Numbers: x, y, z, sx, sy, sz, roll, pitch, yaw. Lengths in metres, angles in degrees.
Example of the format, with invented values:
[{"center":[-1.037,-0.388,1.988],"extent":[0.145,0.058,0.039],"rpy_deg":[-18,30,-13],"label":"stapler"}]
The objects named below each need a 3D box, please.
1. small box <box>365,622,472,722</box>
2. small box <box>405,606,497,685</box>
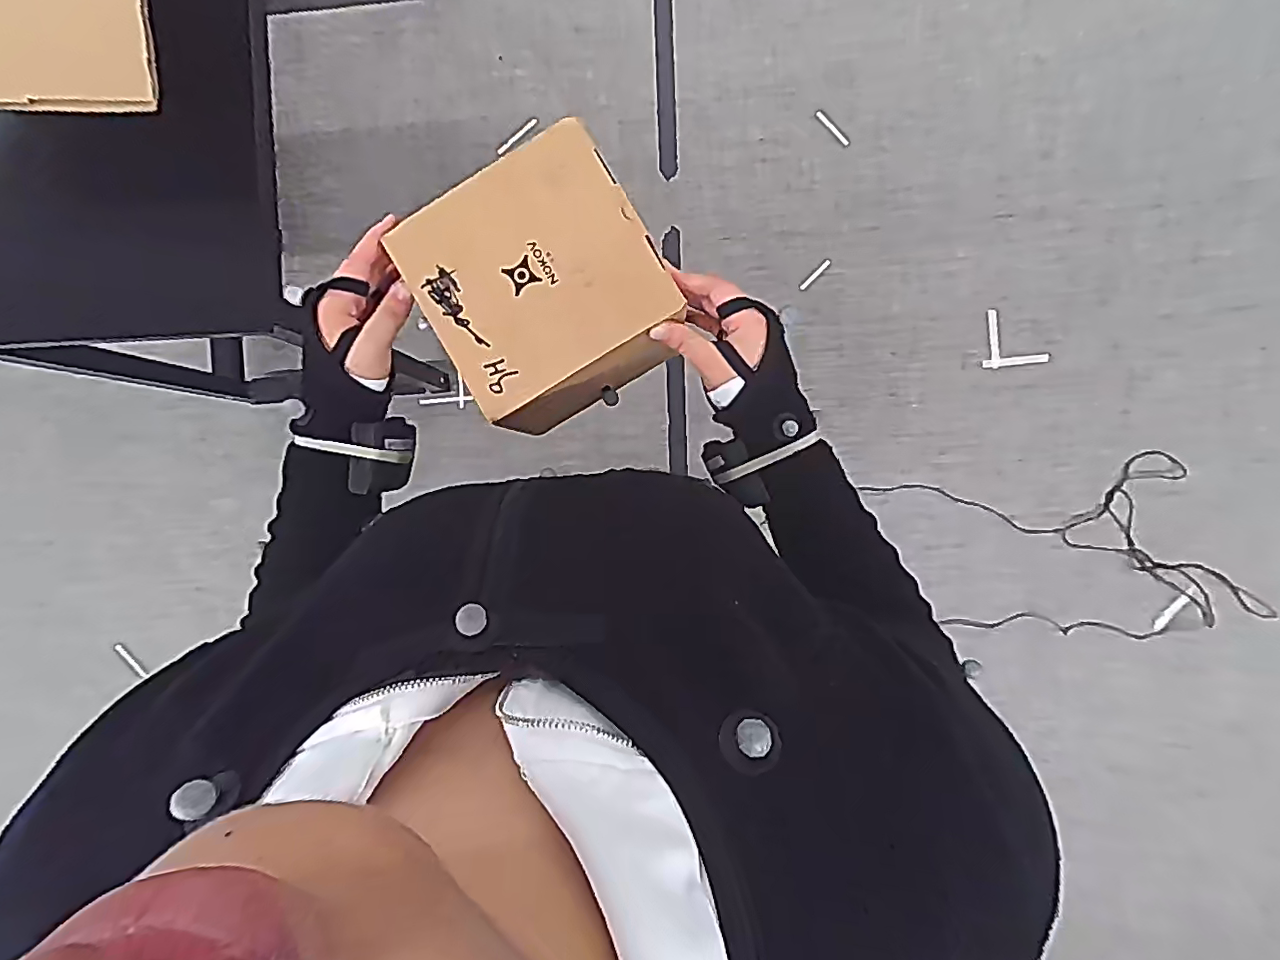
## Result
[{"center":[-0.513,0.447,1.282],"extent":[0.179,0.176,0.168],"rpy_deg":[-9,90,3],"label":"small box"},{"center":[-0.500,0.444,1.445],"extent":[0.179,0.176,0.168],"rpy_deg":[-7,91,1],"label":"small box"}]
